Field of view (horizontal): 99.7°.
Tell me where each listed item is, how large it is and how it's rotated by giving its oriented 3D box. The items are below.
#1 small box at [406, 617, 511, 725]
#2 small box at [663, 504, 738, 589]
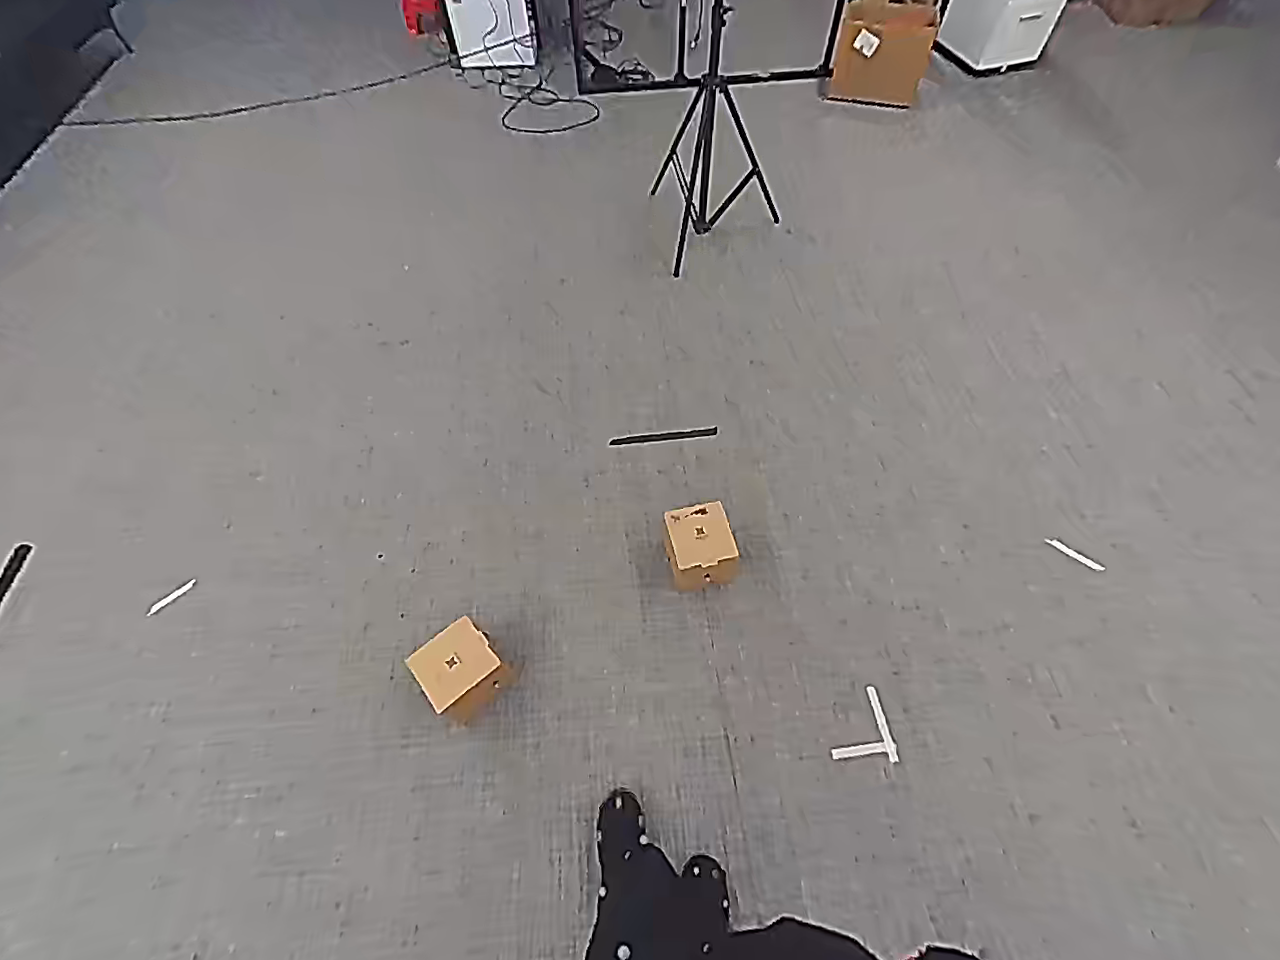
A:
[{"bbox_3d":[-0.440,0.480,1.351,0.179,0.176,0.168,-38,63,-19],"label":"small box"},{"bbox_3d":[0.162,0.193,1.509,0.168,0.176,0.179,-11,59,-6],"label":"small box"}]
